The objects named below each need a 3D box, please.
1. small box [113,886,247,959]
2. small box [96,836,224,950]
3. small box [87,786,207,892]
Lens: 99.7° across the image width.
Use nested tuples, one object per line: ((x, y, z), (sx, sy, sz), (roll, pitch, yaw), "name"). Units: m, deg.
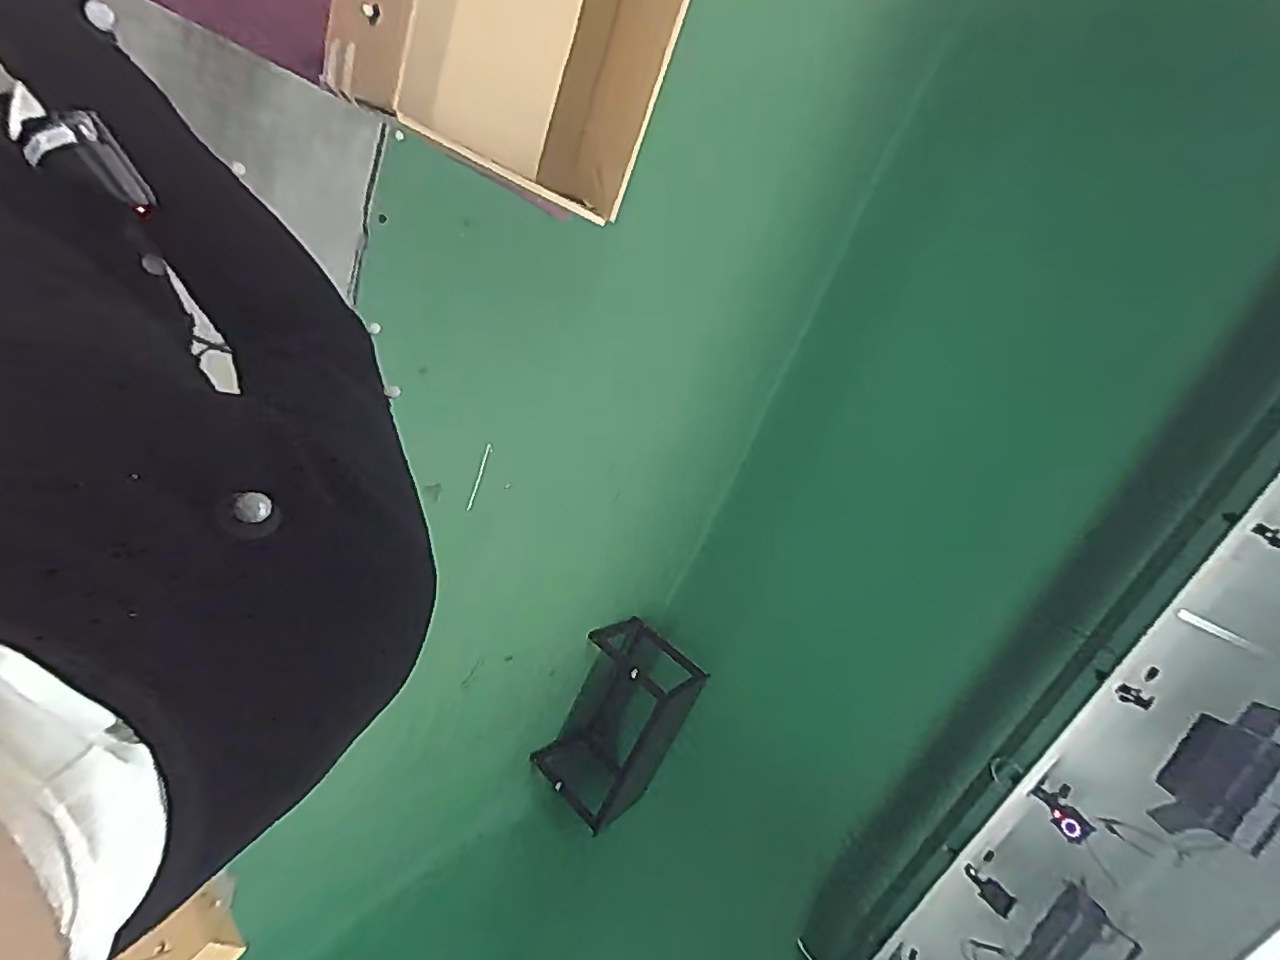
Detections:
((-1.094, 1.123, 1.284), (0.179, 0.176, 0.168), (-39, 146, -32), "small box")
((-1.212, 1.048, 1.369), (0.168, 0.176, 0.179), (-37, 144, -33), "small box")
((-1.330, 0.977, 1.456), (0.179, 0.176, 0.168), (-38, 145, -31), "small box")
